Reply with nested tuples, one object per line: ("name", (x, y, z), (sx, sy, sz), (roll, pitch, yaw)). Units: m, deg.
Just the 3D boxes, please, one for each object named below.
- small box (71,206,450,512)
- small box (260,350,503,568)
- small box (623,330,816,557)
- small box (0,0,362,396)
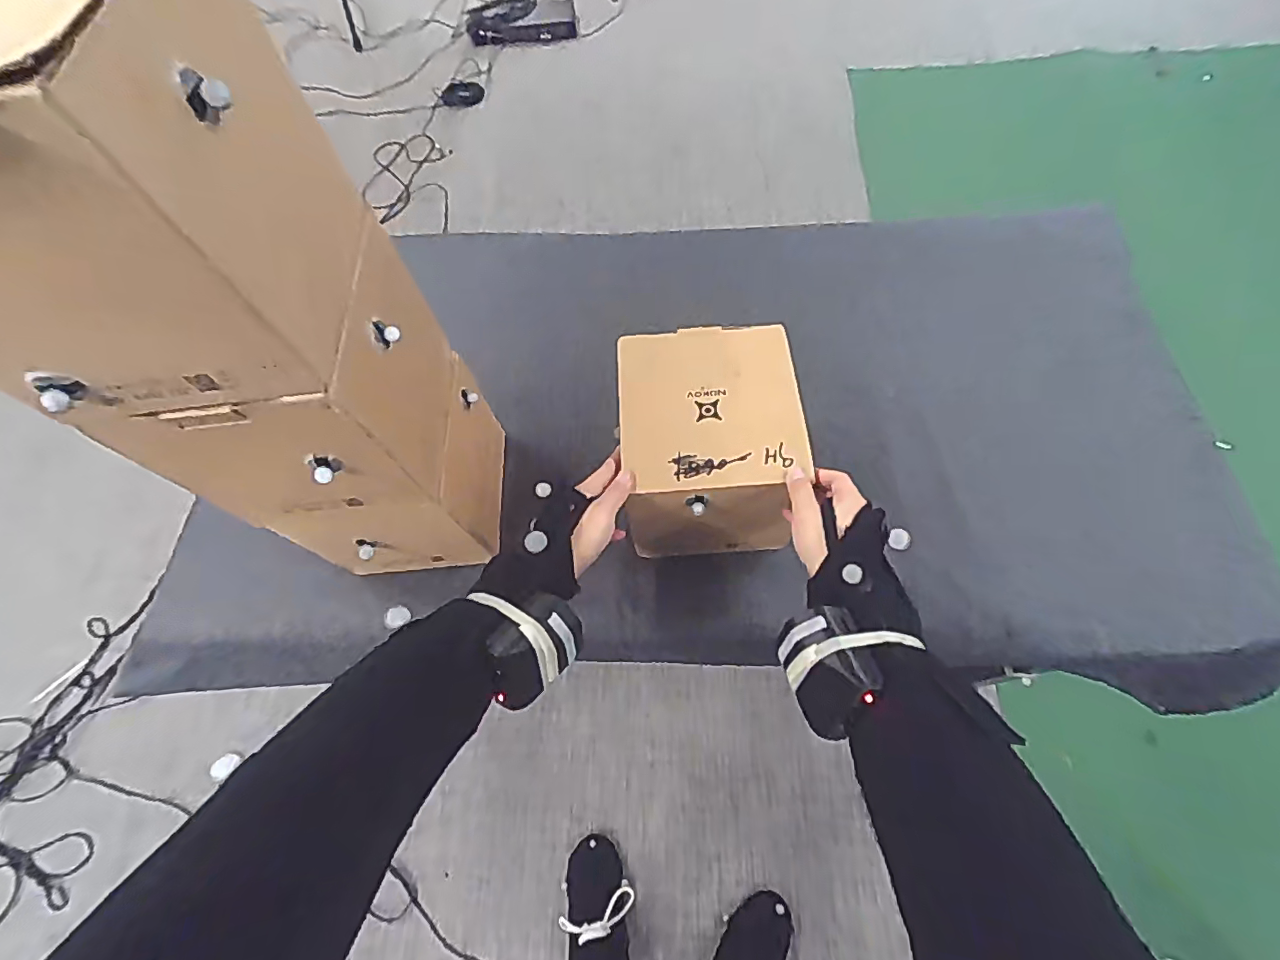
("small box", (-0.266, -0.083, 0.435), (0.168, 0.176, 0.179), (-5, 61, 0))
("small box", (-0.253, -0.011, 0.580), (0.168, 0.176, 0.179), (-5, 62, 2))
("small box", (0.070, -0.031, 0.566), (0.168, 0.176, 0.179), (-4, 63, 3))
("small box", (-0.276, -0.159, 0.289), (0.168, 0.176, 0.179), (-7, 62, -1))
